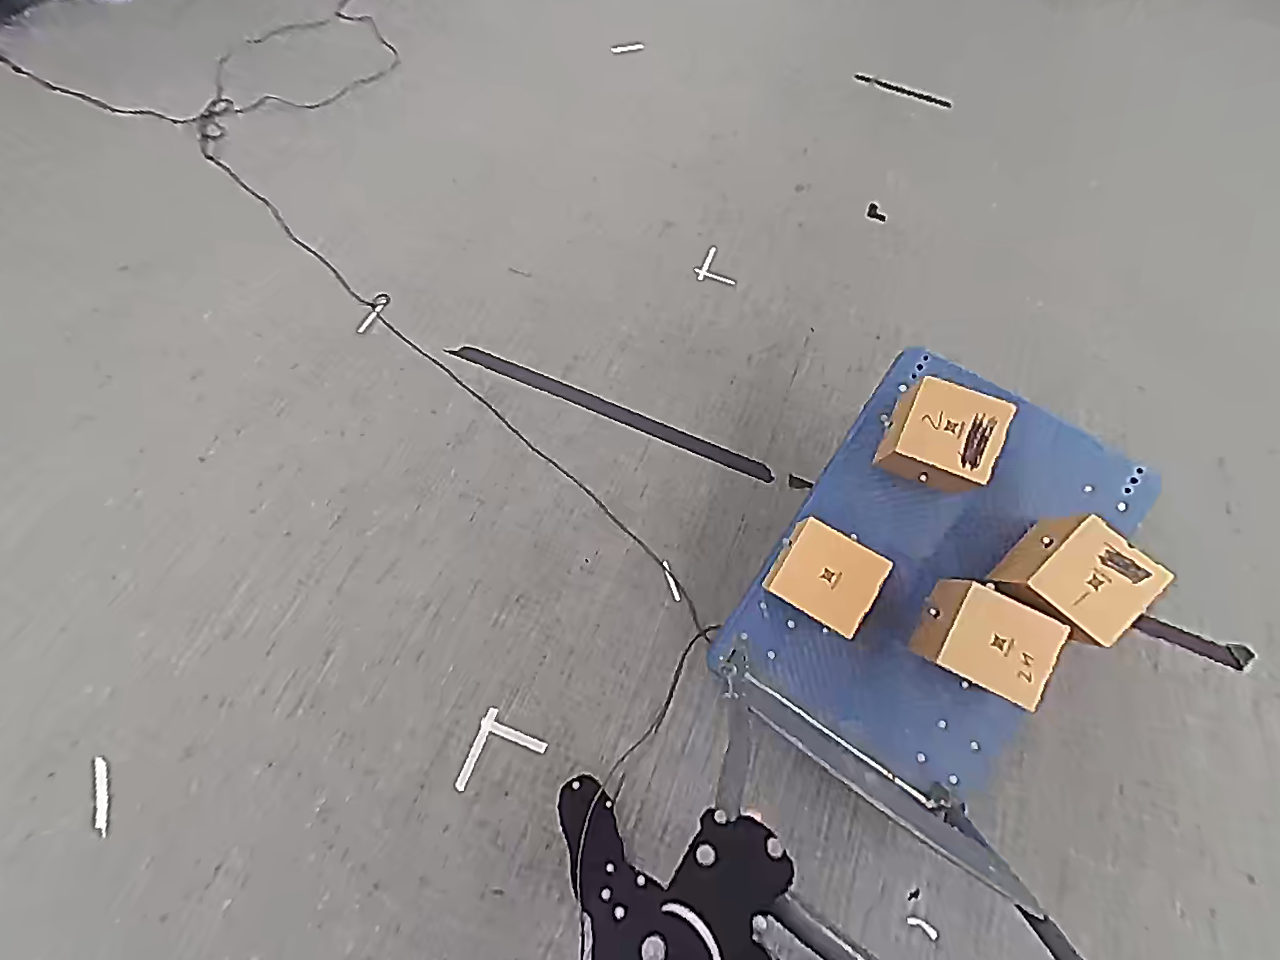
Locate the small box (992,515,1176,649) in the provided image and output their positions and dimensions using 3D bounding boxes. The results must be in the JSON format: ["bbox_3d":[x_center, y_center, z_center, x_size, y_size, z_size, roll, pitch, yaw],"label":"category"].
[{"bbox_3d":[0.820,0.187,1.024,0.168,0.176,0.179,44,91,12],"label":"small box"}]

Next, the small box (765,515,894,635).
[{"bbox_3d":[0.370,0.189,1.095,0.179,0.176,0.168,31,87,10],"label":"small box"}]

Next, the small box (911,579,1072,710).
[{"bbox_3d":[0.654,0.303,1.033,0.179,0.176,0.168,28,87,12],"label":"small box"}]
